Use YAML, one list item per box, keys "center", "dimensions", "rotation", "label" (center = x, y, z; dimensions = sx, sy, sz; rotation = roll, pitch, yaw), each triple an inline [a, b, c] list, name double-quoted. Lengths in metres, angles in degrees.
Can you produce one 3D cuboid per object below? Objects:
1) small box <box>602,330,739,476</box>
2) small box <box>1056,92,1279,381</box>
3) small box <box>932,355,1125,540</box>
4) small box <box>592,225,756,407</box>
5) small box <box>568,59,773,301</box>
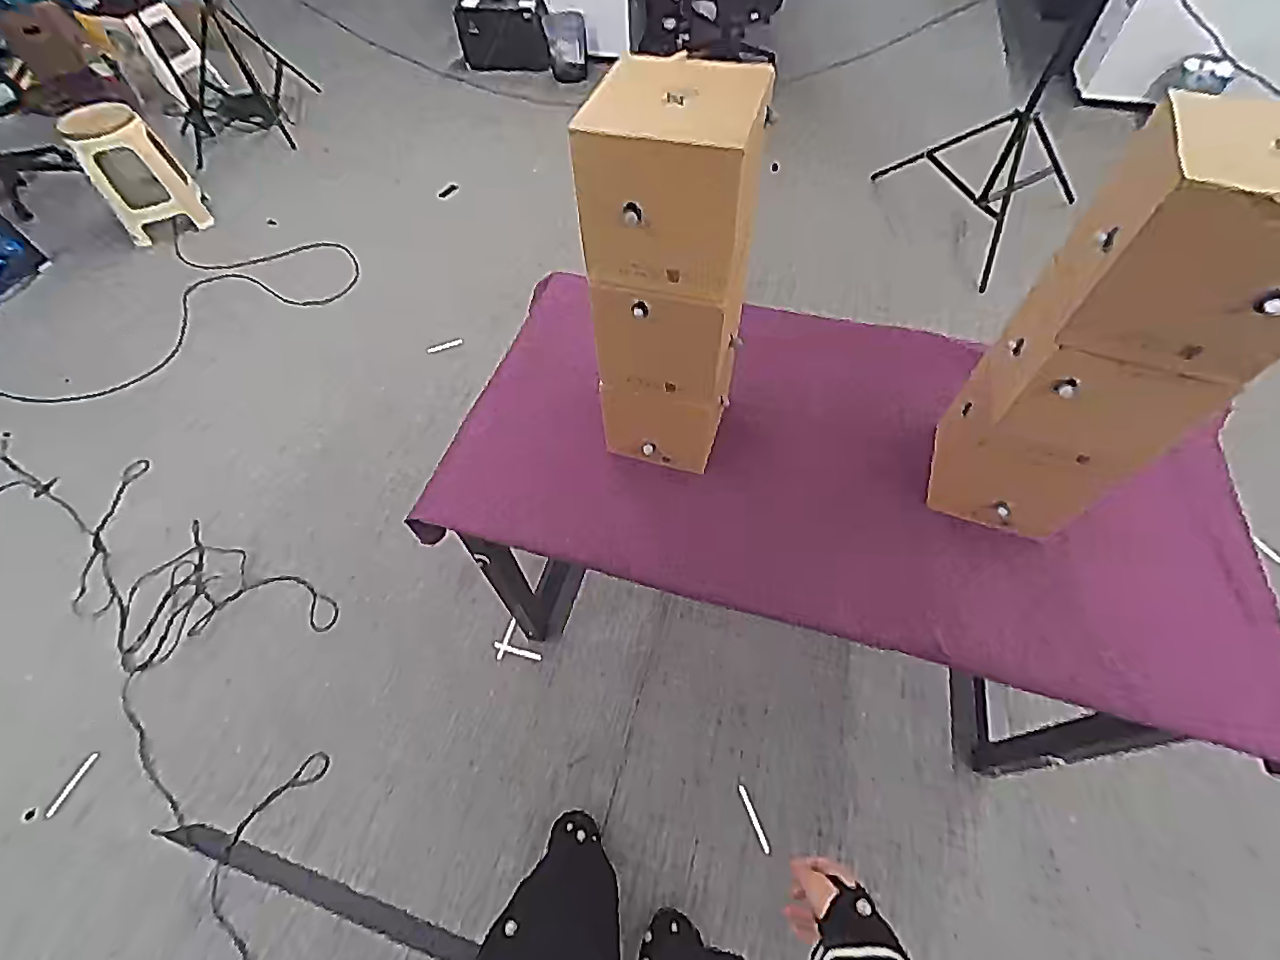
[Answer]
- center: [0.050, -0.136, 0.857]
  dimensions: [0.168, 0.176, 0.179]
  rotation: [14, 59, 11]
  label: "small box"
- center: [0.525, -0.220, 0.502]
  dimensions: [0.168, 0.176, 0.179]
  rotation: [20, 58, 14]
  label: "small box"
- center: [0.542, -0.044, 0.777]
  dimensions: [0.168, 0.176, 0.179]
  rotation: [18, 59, 14]
  label: "small box"
- center: [0.047, -0.228, 0.722]
  dimensions: [0.168, 0.176, 0.179]
  rotation: [13, 58, 11]
  label: "small box"
- center: [0.038, -0.321, 0.587]
  dimensions: [0.168, 0.176, 0.179]
  rotation: [13, 58, 10]
  label: "small box"
